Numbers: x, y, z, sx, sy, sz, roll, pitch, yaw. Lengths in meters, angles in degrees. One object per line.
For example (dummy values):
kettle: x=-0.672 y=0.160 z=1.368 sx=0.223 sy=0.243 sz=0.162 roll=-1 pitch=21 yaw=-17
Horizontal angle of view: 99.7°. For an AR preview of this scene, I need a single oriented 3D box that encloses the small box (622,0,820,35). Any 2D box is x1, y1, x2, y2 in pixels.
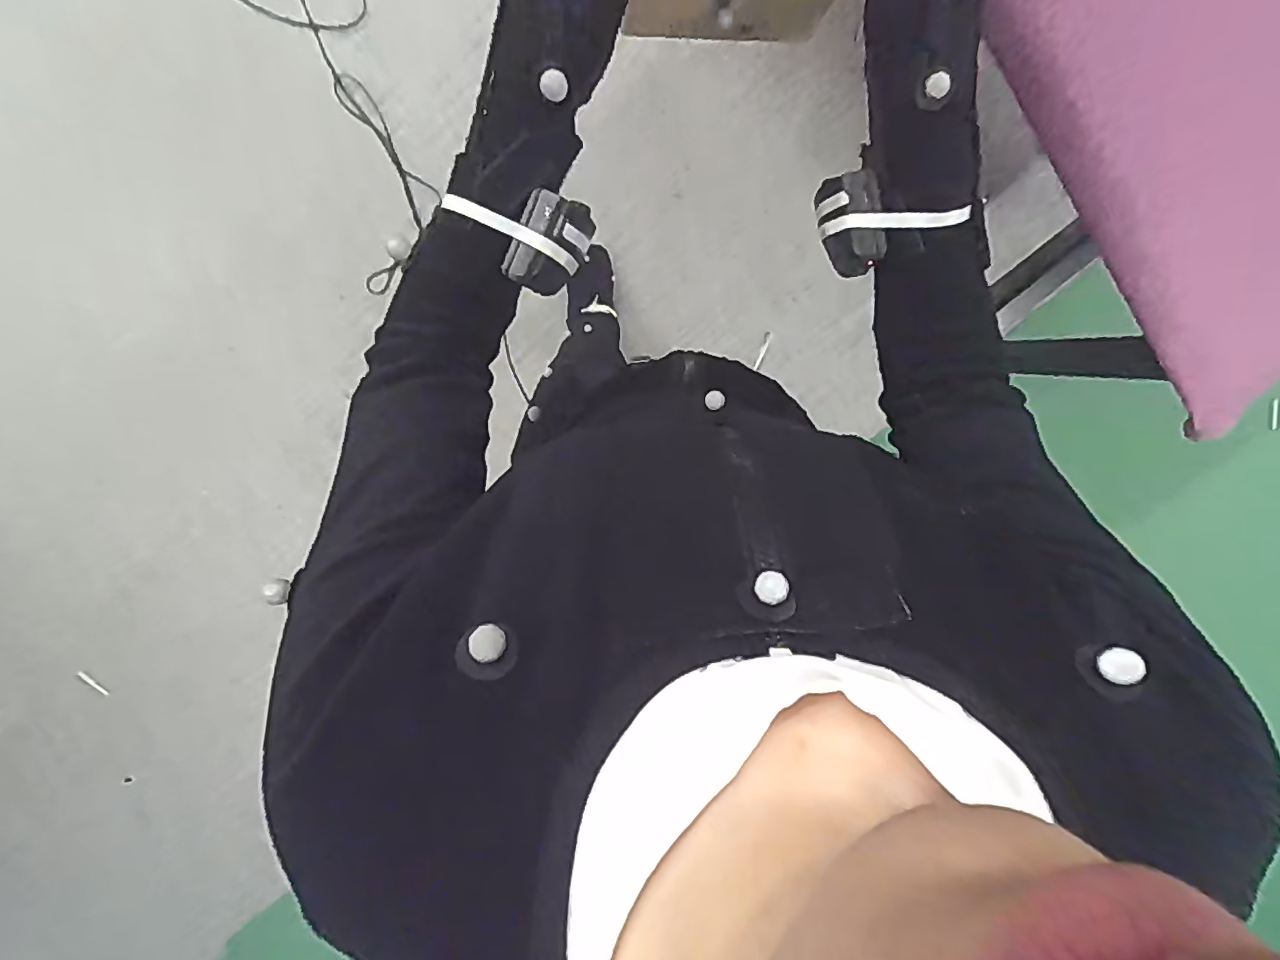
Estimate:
small box: x=0.066 y=-0.449 z=0.362 sx=0.168 sy=0.176 sz=0.179 roll=2 pitch=106 yaw=-1
